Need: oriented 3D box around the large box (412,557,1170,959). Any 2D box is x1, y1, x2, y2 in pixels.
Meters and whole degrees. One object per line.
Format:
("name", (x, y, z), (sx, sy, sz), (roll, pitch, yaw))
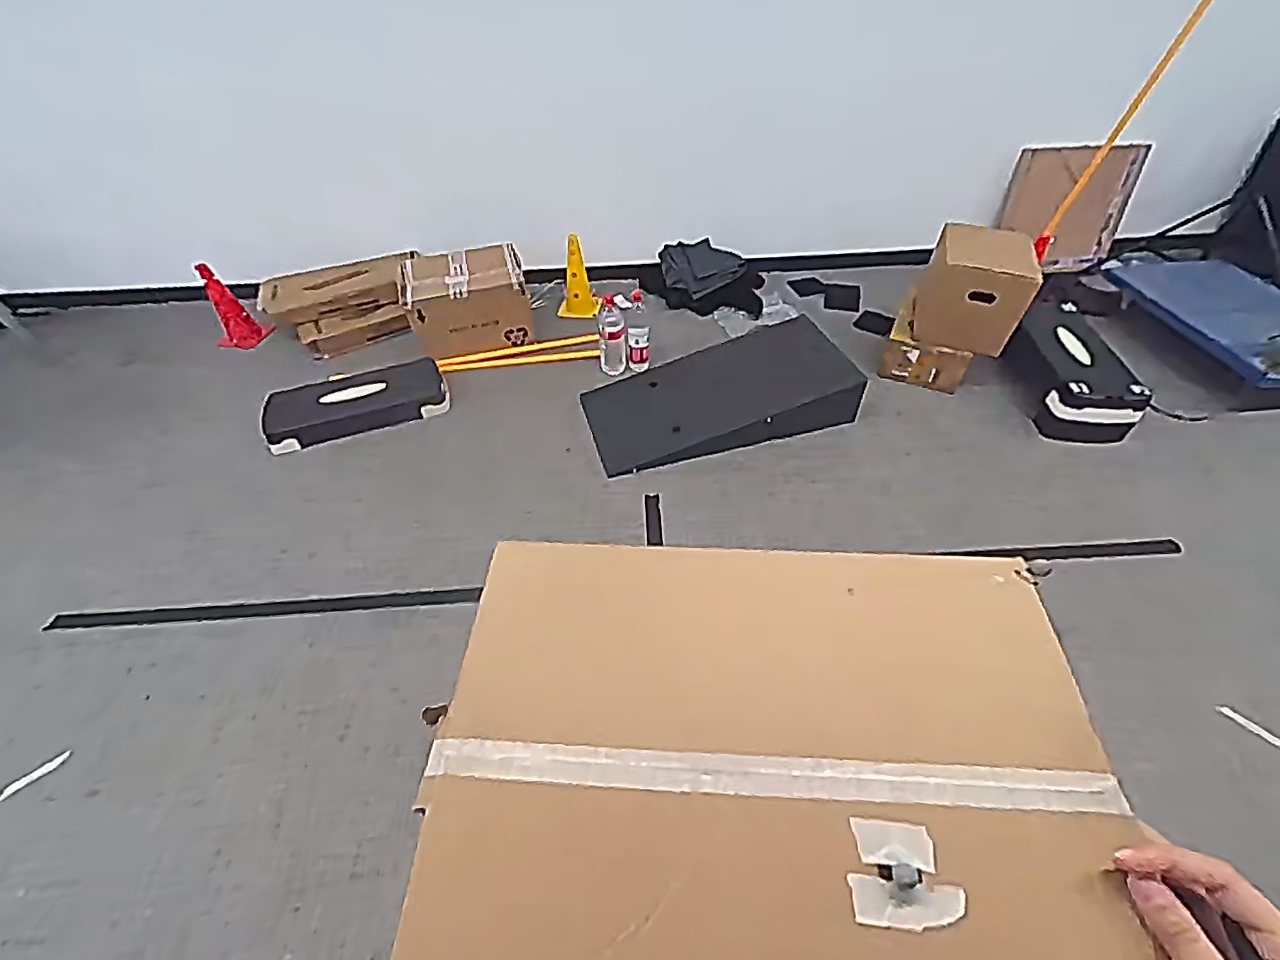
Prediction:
("large box", (0.082, 0.276, 0.452), (0.408, 0.320, 0.320), (1, 53, 3))
